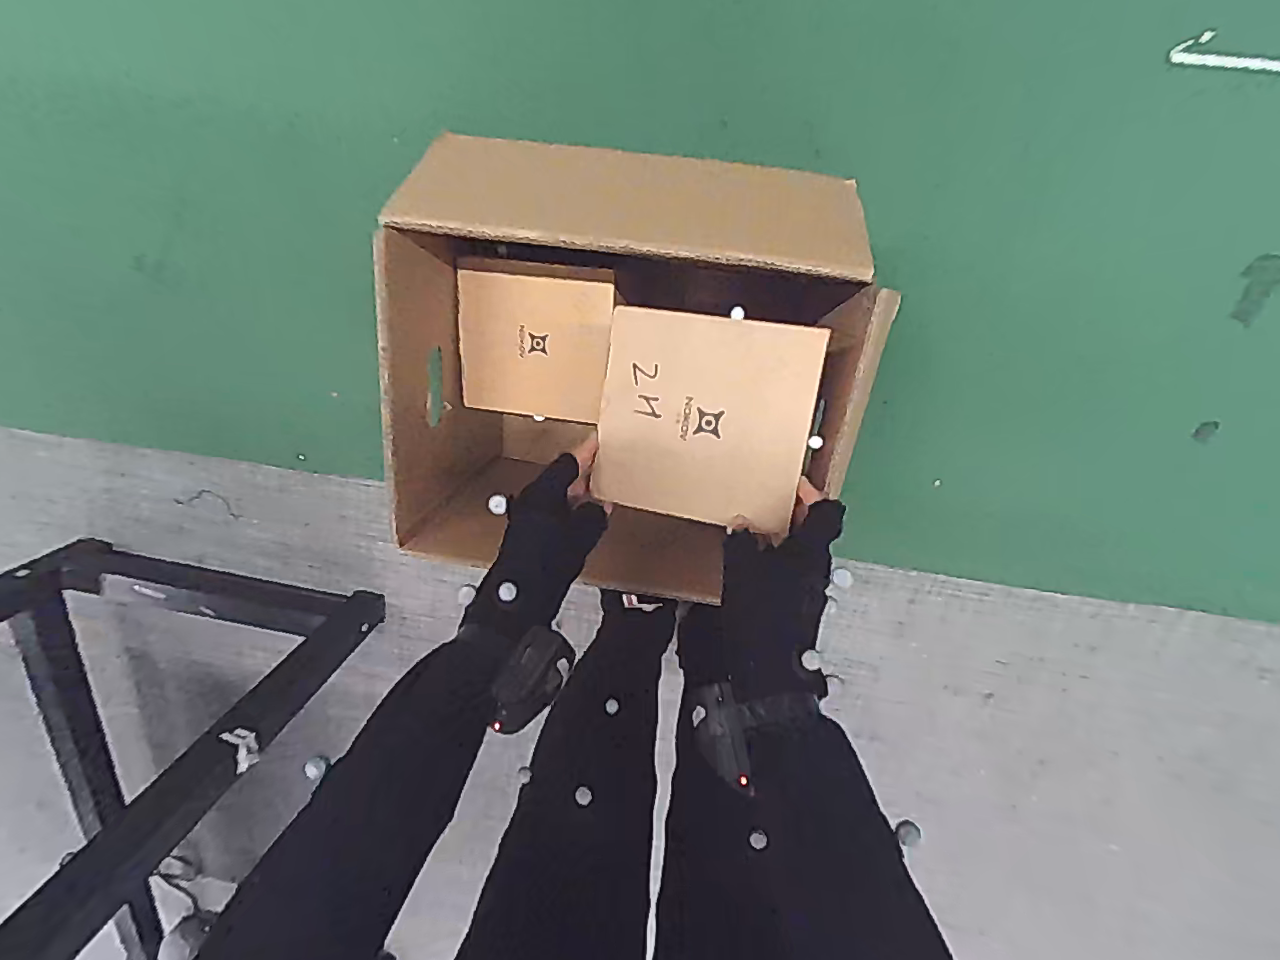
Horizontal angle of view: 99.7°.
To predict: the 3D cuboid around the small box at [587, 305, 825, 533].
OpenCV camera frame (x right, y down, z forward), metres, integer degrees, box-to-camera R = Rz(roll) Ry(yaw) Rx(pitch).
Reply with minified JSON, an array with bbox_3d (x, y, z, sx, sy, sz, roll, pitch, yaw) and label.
[{"bbox_3d":[0.068,-0.061,0.519,0.179,0.176,0.168,11,100,15],"label":"small box"}]
